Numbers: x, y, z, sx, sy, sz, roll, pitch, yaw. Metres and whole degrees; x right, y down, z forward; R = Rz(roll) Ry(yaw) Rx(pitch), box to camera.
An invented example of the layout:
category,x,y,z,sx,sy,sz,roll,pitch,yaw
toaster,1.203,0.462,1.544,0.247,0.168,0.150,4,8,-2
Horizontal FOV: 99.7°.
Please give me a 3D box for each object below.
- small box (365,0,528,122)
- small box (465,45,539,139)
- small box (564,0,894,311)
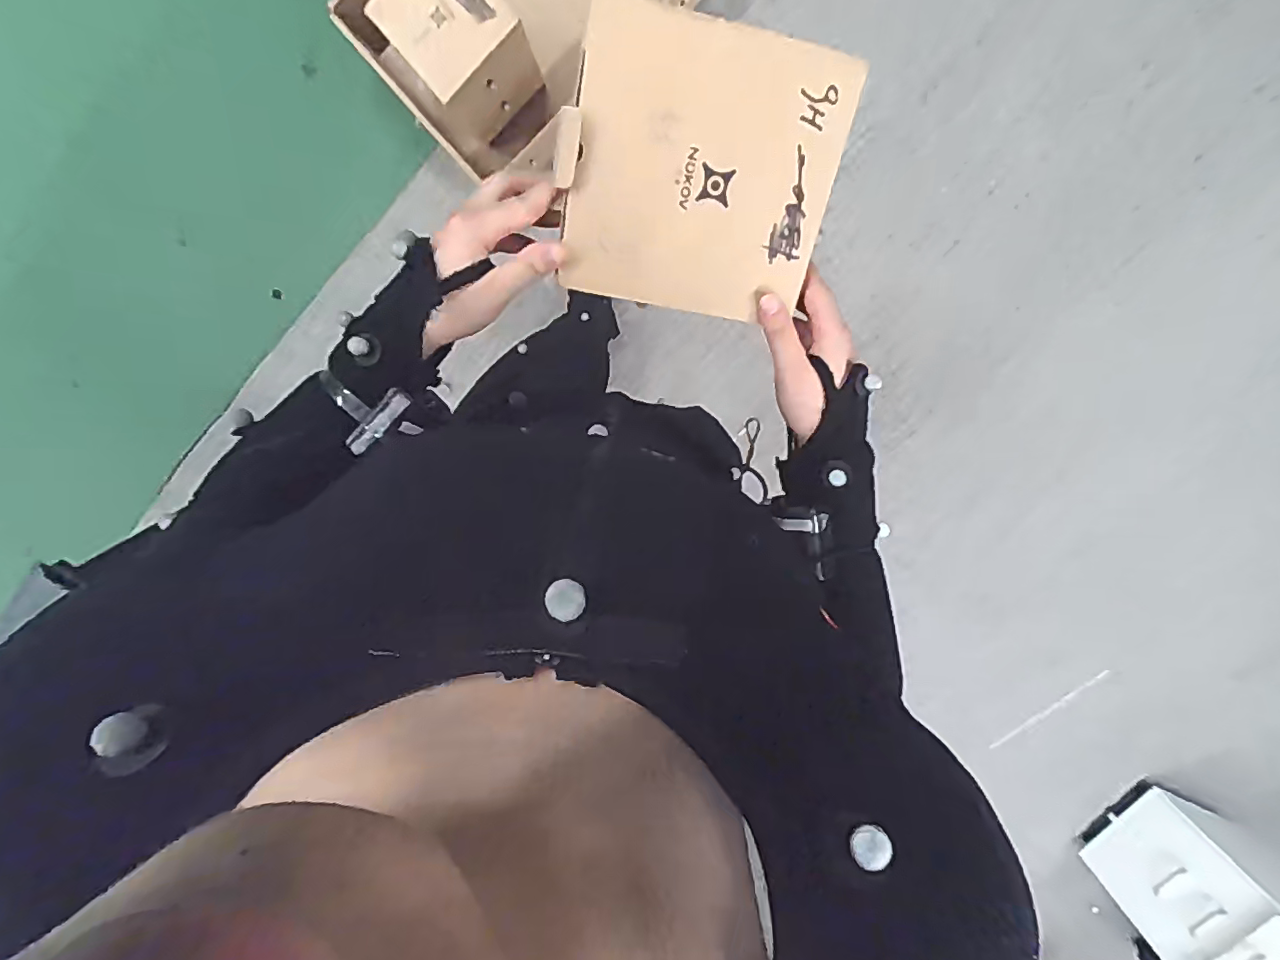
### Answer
category,x,y,z,sx,sy,sz,roll,pitch,yaw
small box,-0.301,-0.738,0.888,0.179,0.176,0.168,-39,108,12
small box,-0.312,-0.800,1.040,0.179,0.176,0.168,-41,109,11
small box,0.043,-0.239,0.409,0.179,0.176,0.168,8,116,-11
